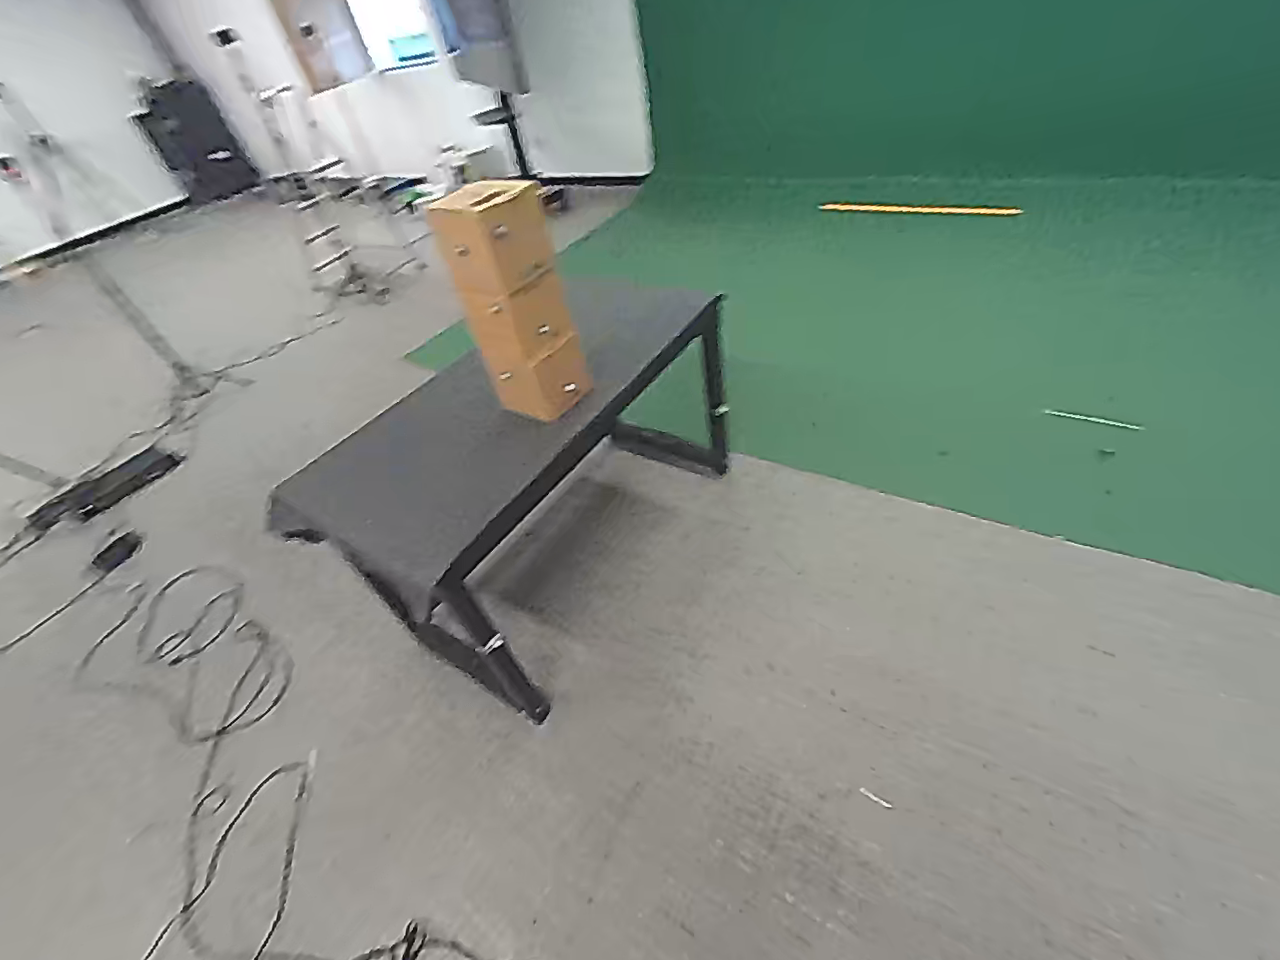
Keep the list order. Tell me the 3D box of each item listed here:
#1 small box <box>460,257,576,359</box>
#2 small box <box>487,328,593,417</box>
[{"bbox_3d":[-0.277,-0.399,1.255,0.179,0.176,0.168,20,52,31],"label":"small box"},{"bbox_3d":[-0.244,-0.279,1.359,0.179,0.176,0.168,20,52,31],"label":"small box"}]
